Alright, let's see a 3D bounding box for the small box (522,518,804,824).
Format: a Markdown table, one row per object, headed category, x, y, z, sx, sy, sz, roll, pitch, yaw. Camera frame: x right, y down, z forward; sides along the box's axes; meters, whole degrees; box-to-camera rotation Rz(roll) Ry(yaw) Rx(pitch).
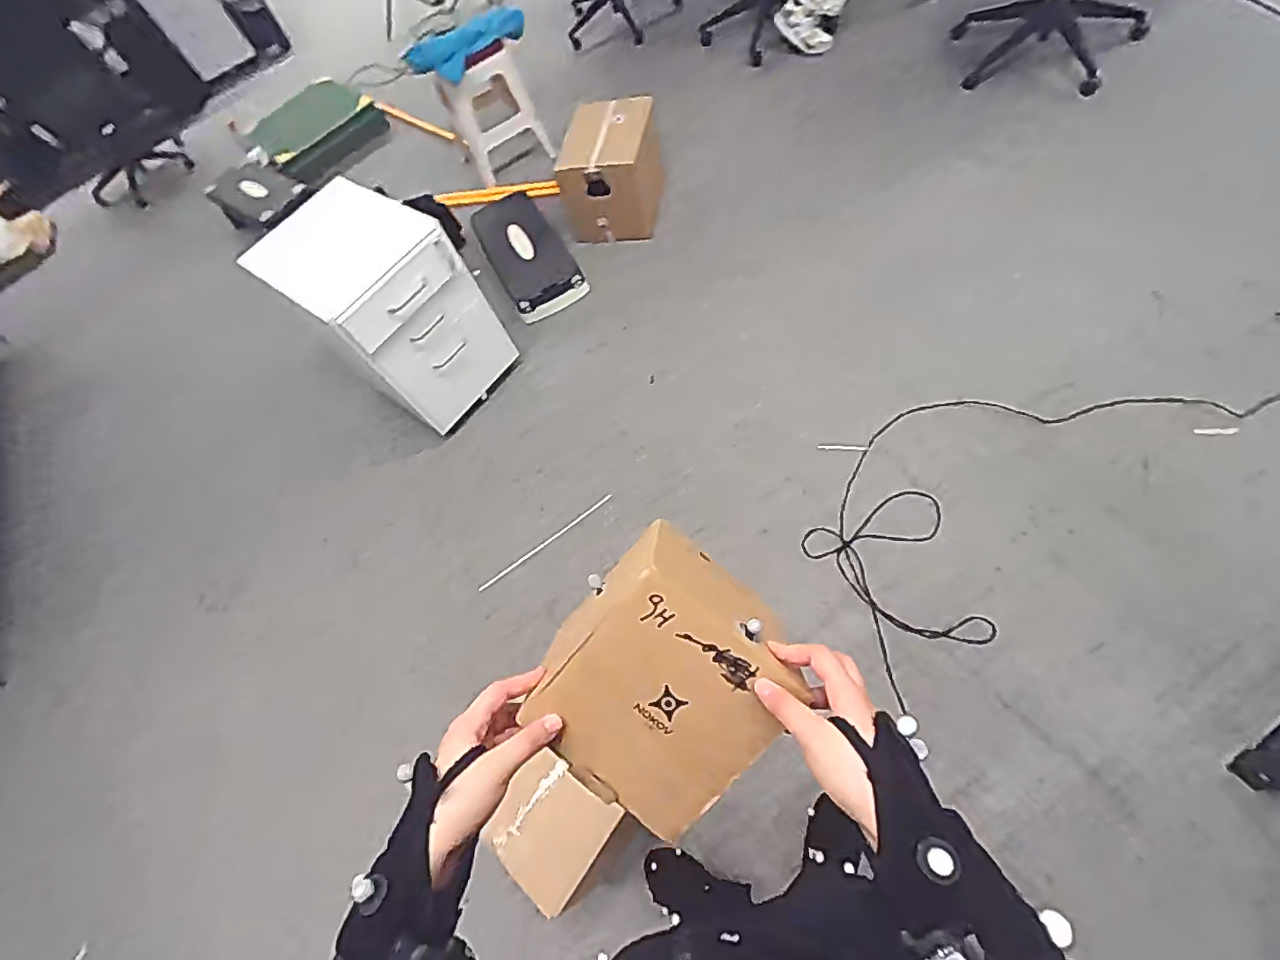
| category | x | y | z | sx | sy | sz | roll | pitch | yaw |
| --- | --- | --- | --- | --- | --- | --- | --- | --- | --- |
| small box | 0.024 | 0.163 | 0.514 | 0.168 | 0.176 | 0.179 | 40 | 101 | -2 |
